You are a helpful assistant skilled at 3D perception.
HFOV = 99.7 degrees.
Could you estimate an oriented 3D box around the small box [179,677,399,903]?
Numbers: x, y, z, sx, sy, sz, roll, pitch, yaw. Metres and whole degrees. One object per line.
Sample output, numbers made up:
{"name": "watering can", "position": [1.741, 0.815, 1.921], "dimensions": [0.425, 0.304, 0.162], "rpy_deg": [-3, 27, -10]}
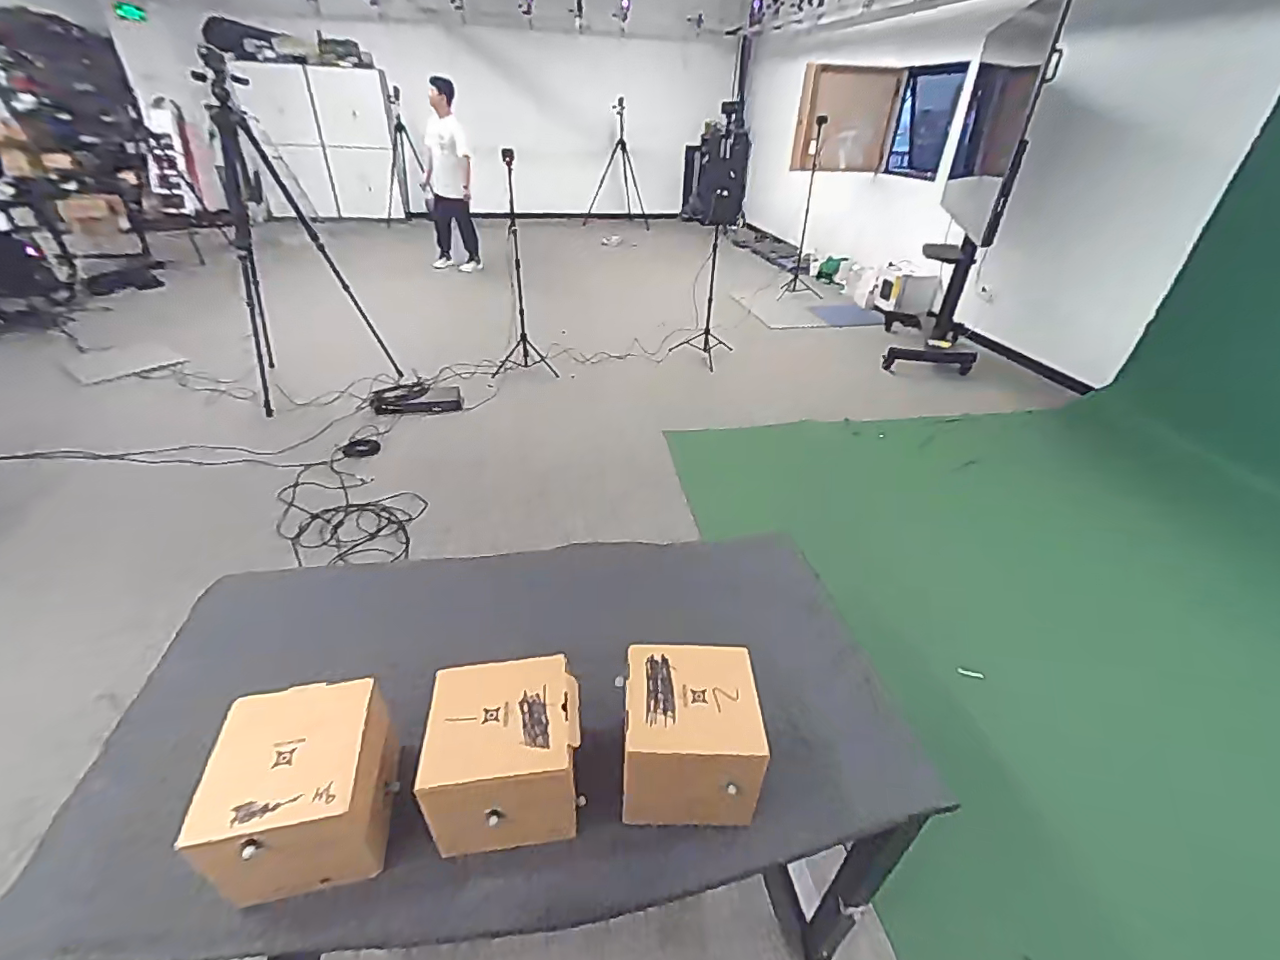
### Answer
{"name": "small box", "position": [-0.414, 0.382, 0.679], "dimensions": [0.168, 0.176, 0.179], "rpy_deg": [-6, 35, -11]}
